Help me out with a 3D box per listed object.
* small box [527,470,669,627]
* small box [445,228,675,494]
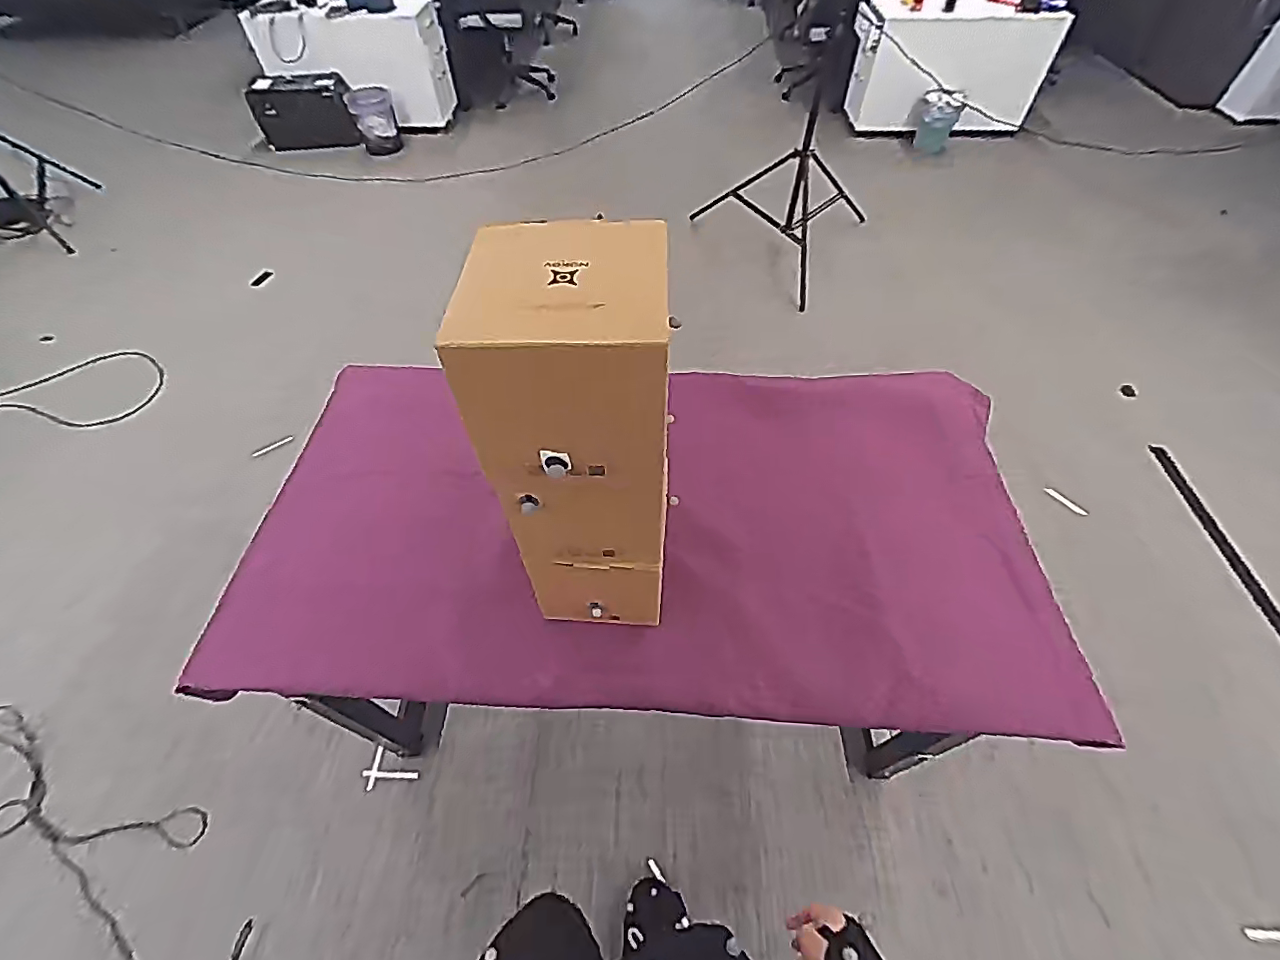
[{"bbox_3d":[-0.048,0.086,0.757,0.168,0.176,0.179,3,52,4],"label":"small box"},{"bbox_3d":[-0.055,-0.106,0.492,0.168,0.176,0.179,-1,53,1],"label":"small box"}]
